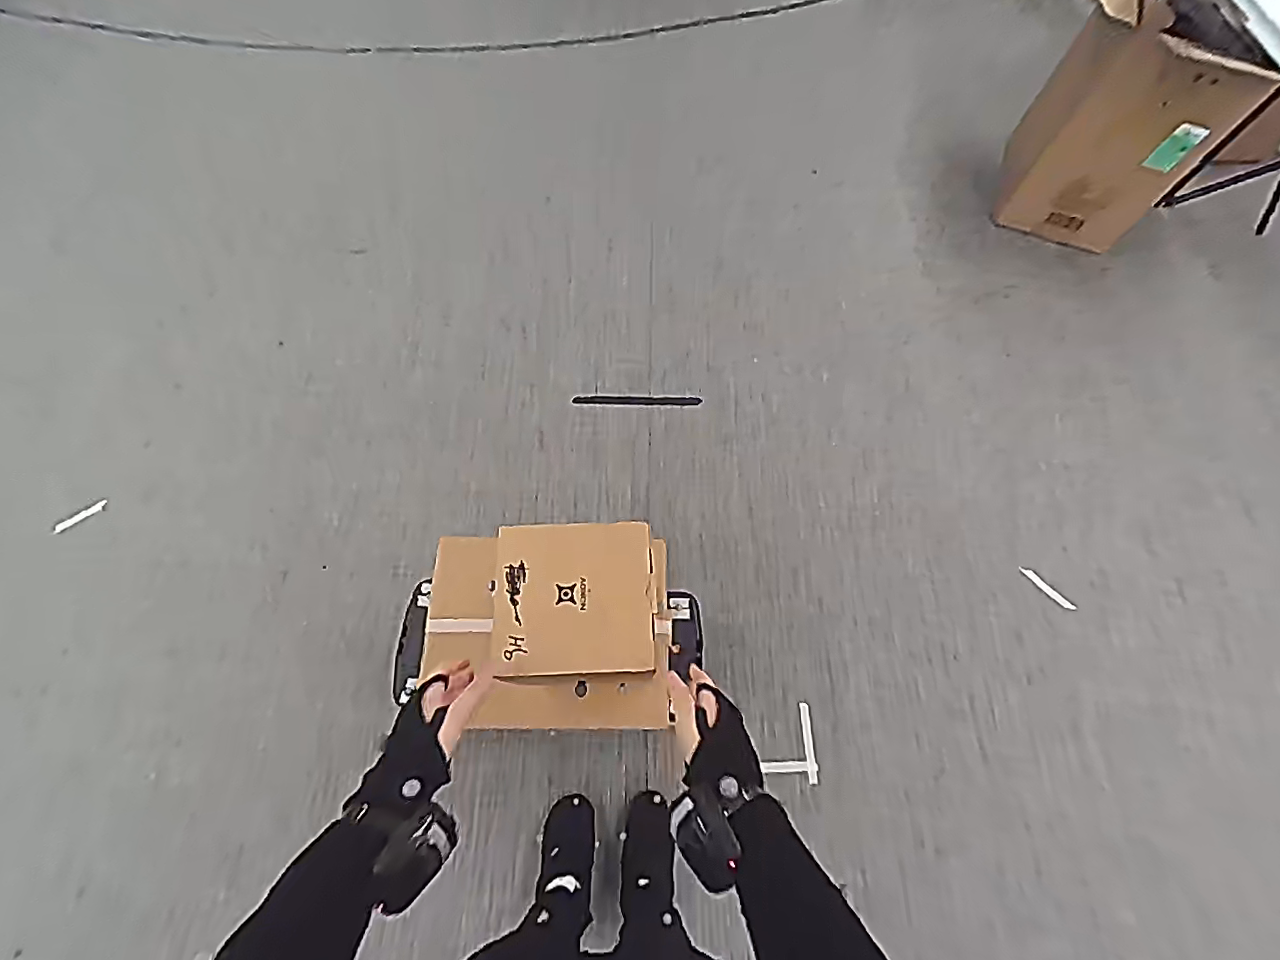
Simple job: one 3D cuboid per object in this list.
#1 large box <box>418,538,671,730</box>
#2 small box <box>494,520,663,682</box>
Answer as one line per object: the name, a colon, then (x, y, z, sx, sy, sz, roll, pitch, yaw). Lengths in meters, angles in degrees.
large box: (-0.151, 0.303, 1.039, 0.408, 0.320, 0.320, 1, 66, 0)
small box: (-0.068, 0.153, 0.661, 0.179, 0.176, 0.168, 0, 65, -3)
